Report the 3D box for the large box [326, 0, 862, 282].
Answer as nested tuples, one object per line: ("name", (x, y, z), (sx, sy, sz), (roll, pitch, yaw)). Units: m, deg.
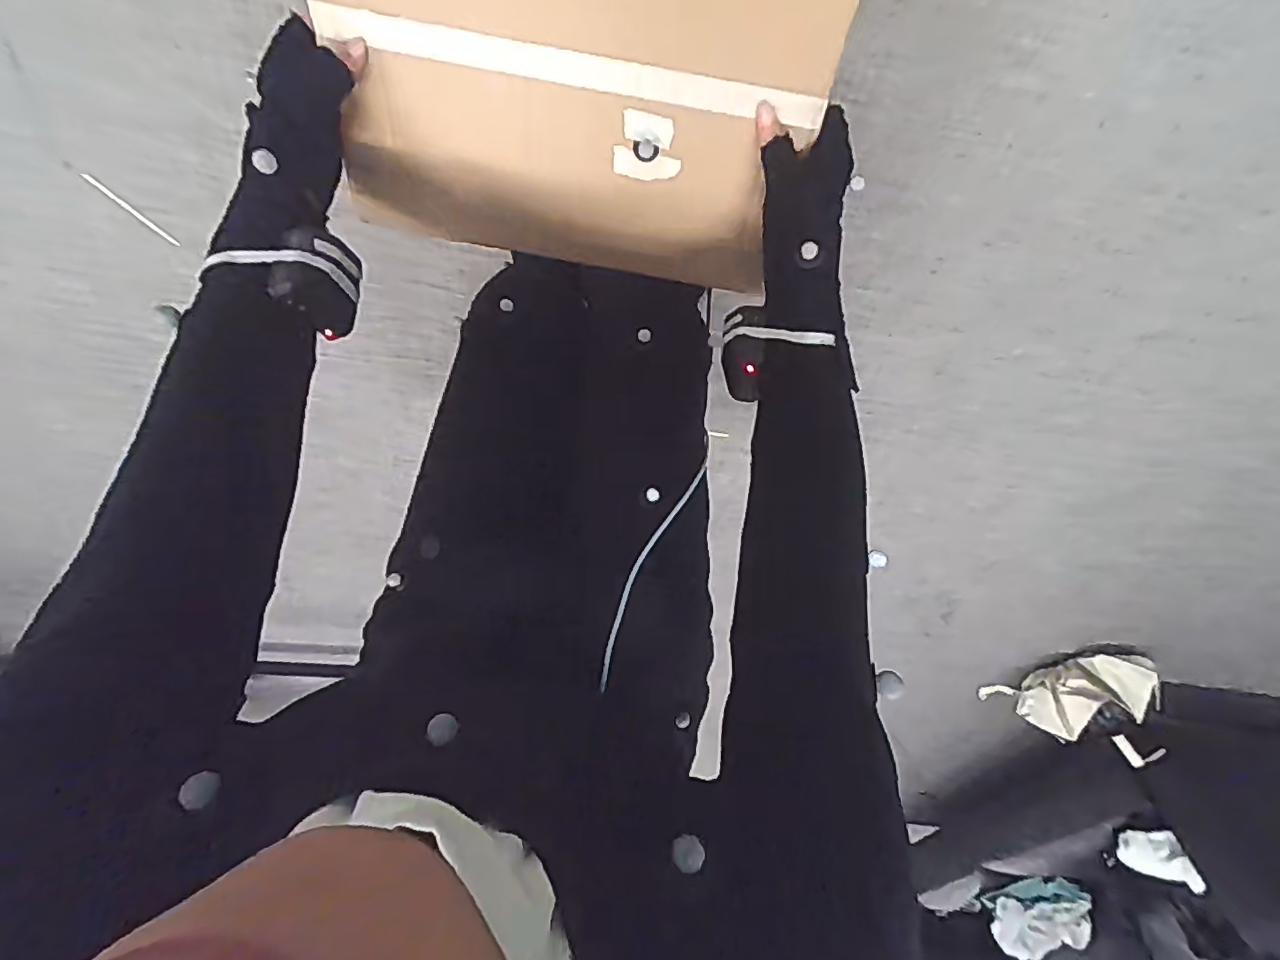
("large box", (-0.035, -0.432, 0.528), (0.408, 0.320, 0.320), (9, 135, -3))
